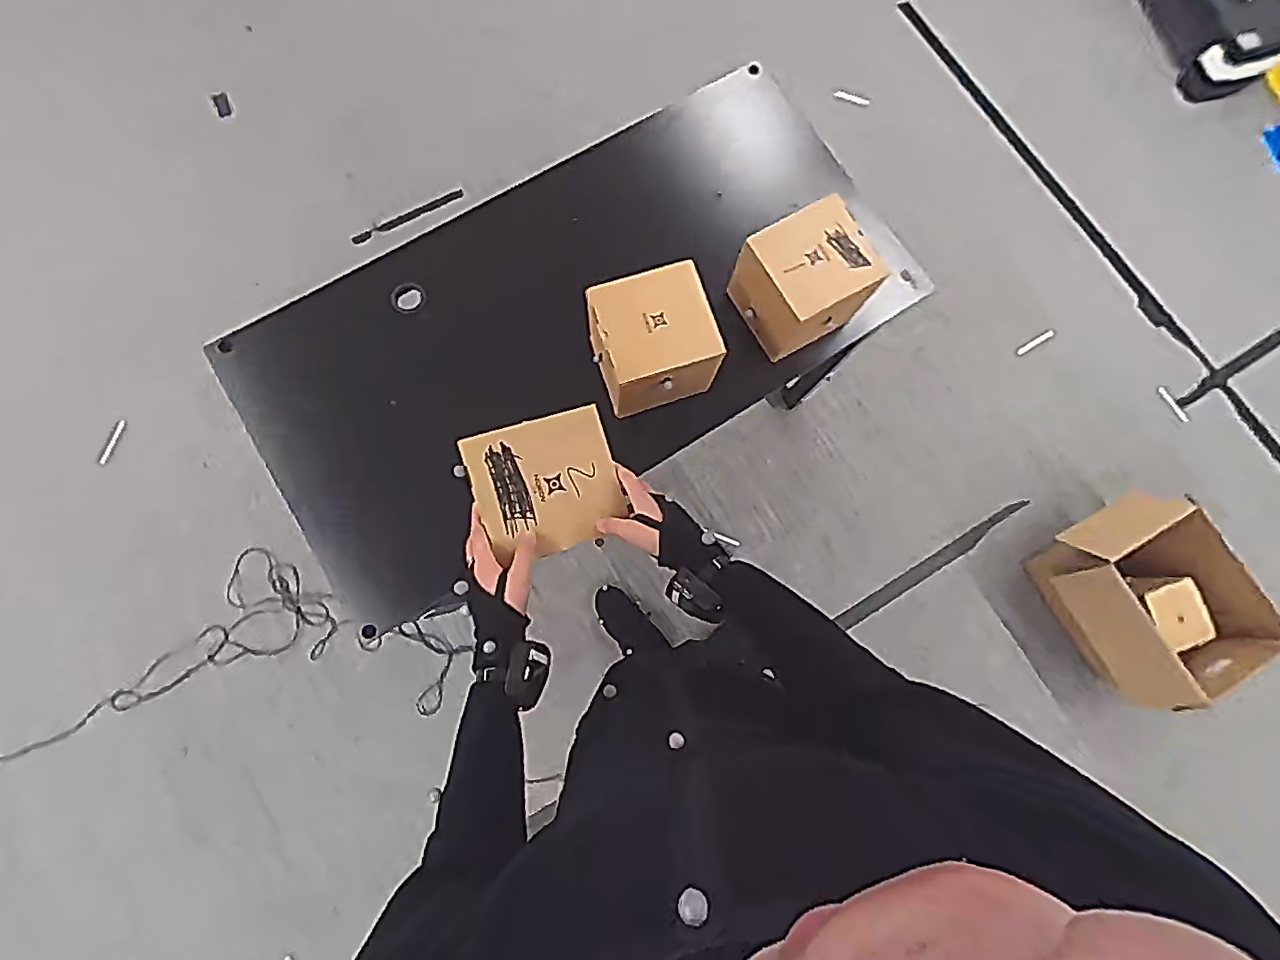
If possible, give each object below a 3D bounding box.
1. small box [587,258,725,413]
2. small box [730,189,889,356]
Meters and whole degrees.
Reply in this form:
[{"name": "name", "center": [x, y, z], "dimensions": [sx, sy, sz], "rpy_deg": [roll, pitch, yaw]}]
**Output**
[{"name": "small box", "center": [0.021, -0.230, 0.898], "dimensions": [0.179, 0.176, 0.168], "rpy_deg": [-19, 81, -4]}, {"name": "small box", "center": [0.276, -0.344, 0.924], "dimensions": [0.179, 0.176, 0.168], "rpy_deg": [-30, 82, -5]}]
